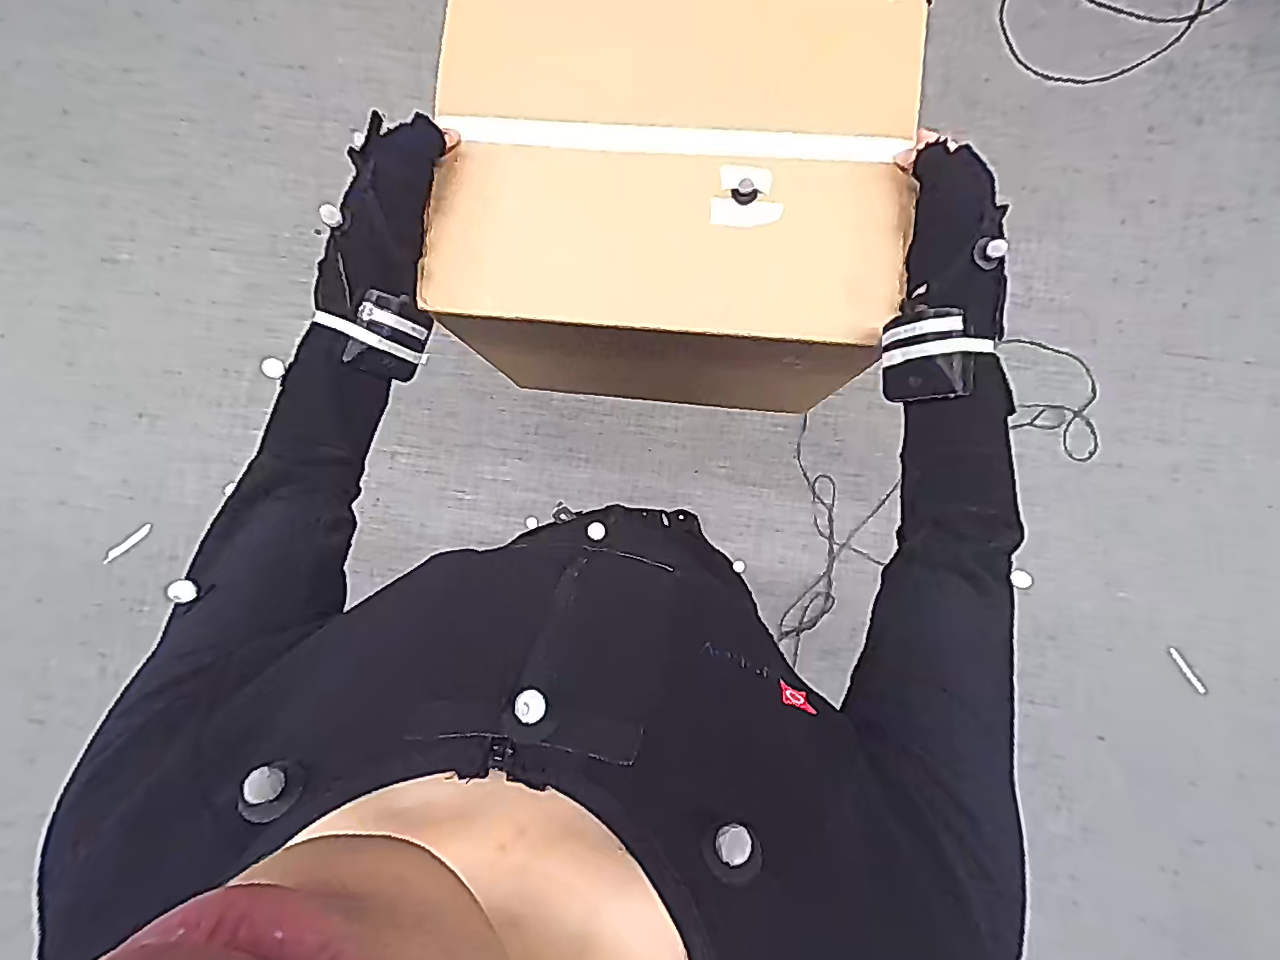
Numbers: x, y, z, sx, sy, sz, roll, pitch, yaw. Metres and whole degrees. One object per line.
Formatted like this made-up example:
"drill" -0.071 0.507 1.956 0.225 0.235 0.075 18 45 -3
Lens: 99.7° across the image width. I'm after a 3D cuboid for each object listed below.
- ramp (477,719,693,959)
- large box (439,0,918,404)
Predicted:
"ramp" -0.157 1.155 1.346 0.509 0.206 0.991 5 86 4
"large box" 0.038 -0.279 0.618 0.408 0.320 0.320 5 87 3
